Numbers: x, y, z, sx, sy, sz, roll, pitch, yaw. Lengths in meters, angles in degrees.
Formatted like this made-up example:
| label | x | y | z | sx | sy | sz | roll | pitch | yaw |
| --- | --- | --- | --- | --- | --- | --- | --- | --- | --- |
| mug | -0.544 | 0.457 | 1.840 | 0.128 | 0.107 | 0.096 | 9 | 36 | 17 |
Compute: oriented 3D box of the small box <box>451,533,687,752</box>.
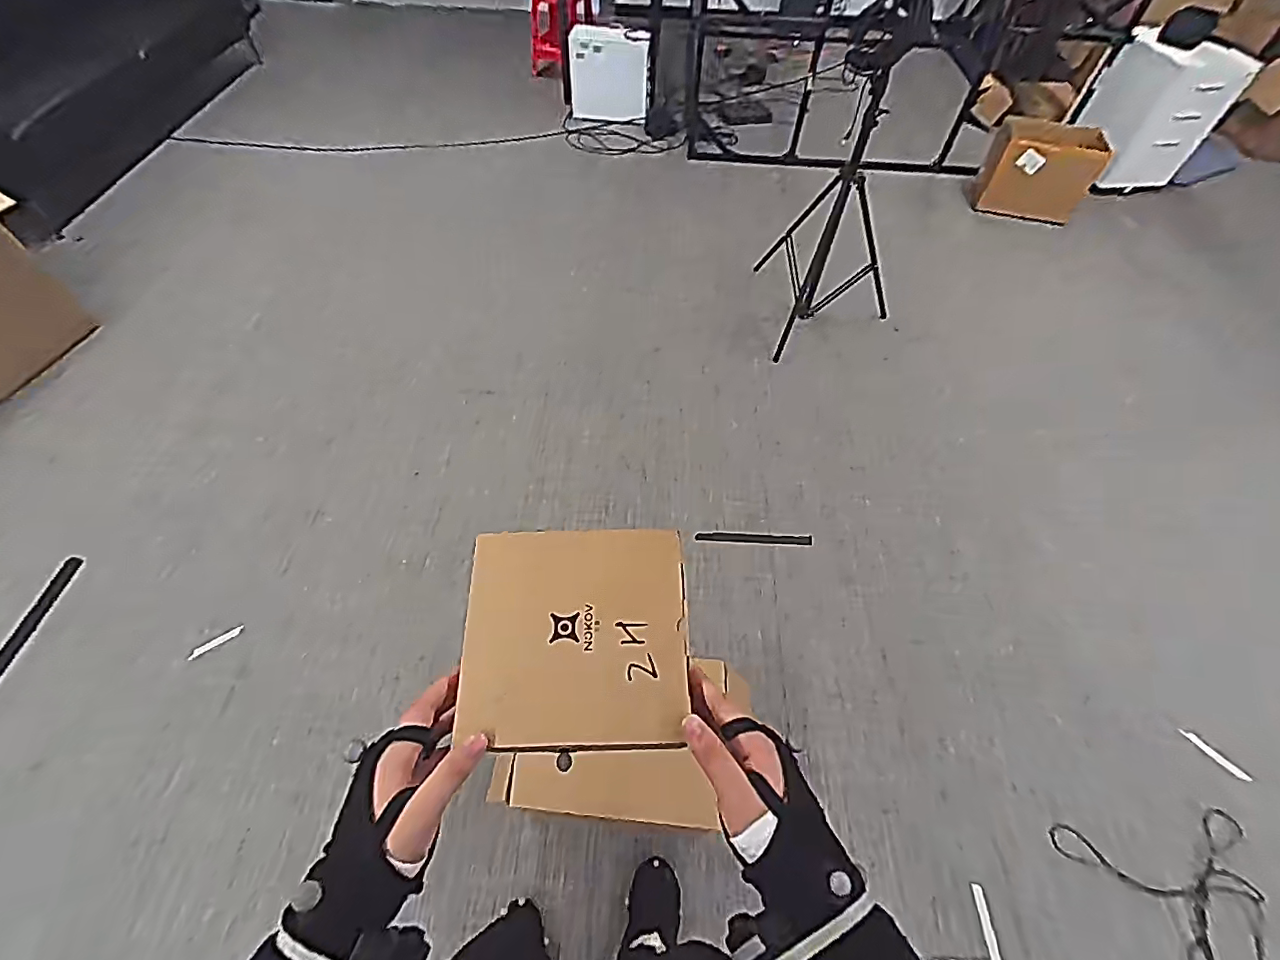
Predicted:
| label | x | y | z | sx | sy | sz | roll | pitch | yaw |
| --- | --- | --- | --- | --- | --- | --- | --- | --- | --- |
| small box | -0.052 | 0.157 | 0.498 | 0.179 | 0.176 | 0.168 | -2 | 63 | 0 |
